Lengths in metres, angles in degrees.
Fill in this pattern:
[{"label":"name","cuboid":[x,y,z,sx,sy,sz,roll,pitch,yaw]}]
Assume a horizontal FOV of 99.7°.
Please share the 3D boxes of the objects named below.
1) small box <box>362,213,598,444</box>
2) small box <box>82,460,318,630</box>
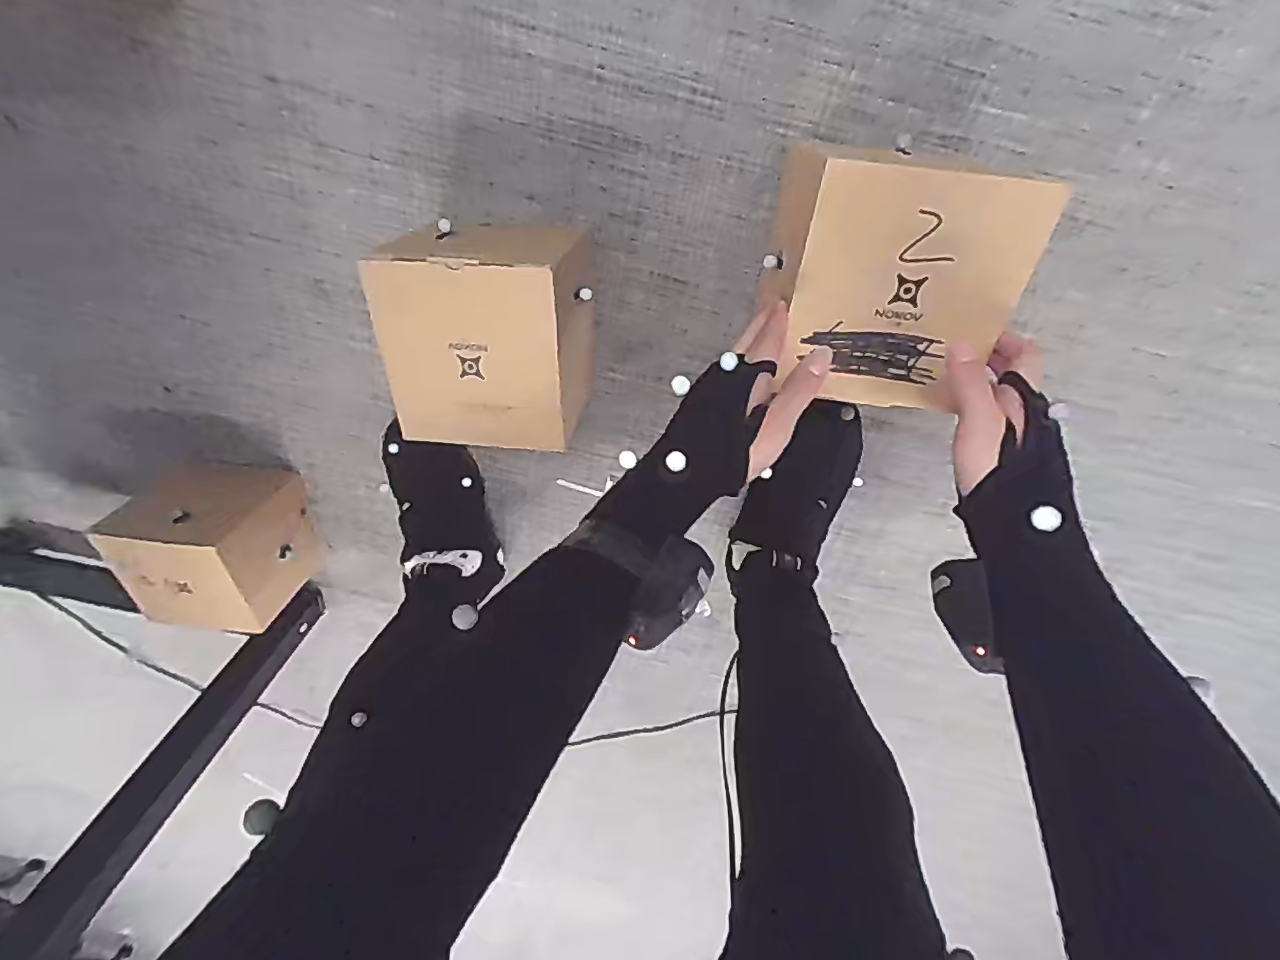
[{"label":"small box","cuboid":[-0.137,-0.157,0.537,0.168,0.176,0.179,5,126,4]},{"label":"small box","cuboid":[-0.590,0.085,0.762,0.179,0.176,0.168,6,125,4]}]
